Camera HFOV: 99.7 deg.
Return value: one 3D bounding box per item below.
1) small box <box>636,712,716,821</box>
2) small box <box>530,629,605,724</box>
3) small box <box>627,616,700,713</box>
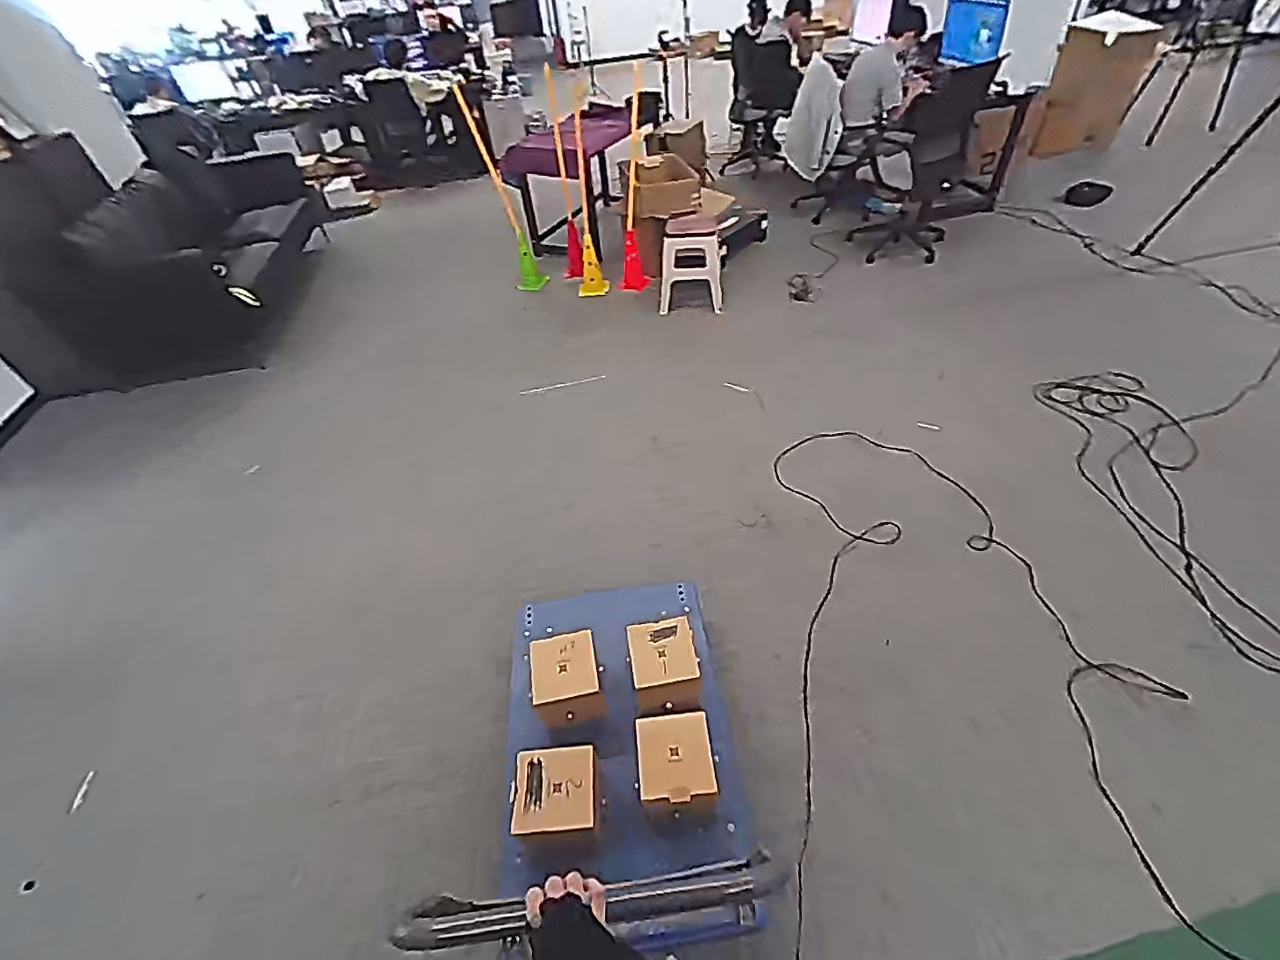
[{"bbox_3d":[0.080,0.667,1.259,0.168,0.176,0.179,-7,46,0],"label":"small box"},{"bbox_3d":[-0.191,0.526,1.428,0.168,0.176,0.179,-10,45,-4],"label":"small box"},{"bbox_3d":[0.061,0.490,1.433,0.168,0.176,0.179,-10,46,-2],"label":"small box"}]
